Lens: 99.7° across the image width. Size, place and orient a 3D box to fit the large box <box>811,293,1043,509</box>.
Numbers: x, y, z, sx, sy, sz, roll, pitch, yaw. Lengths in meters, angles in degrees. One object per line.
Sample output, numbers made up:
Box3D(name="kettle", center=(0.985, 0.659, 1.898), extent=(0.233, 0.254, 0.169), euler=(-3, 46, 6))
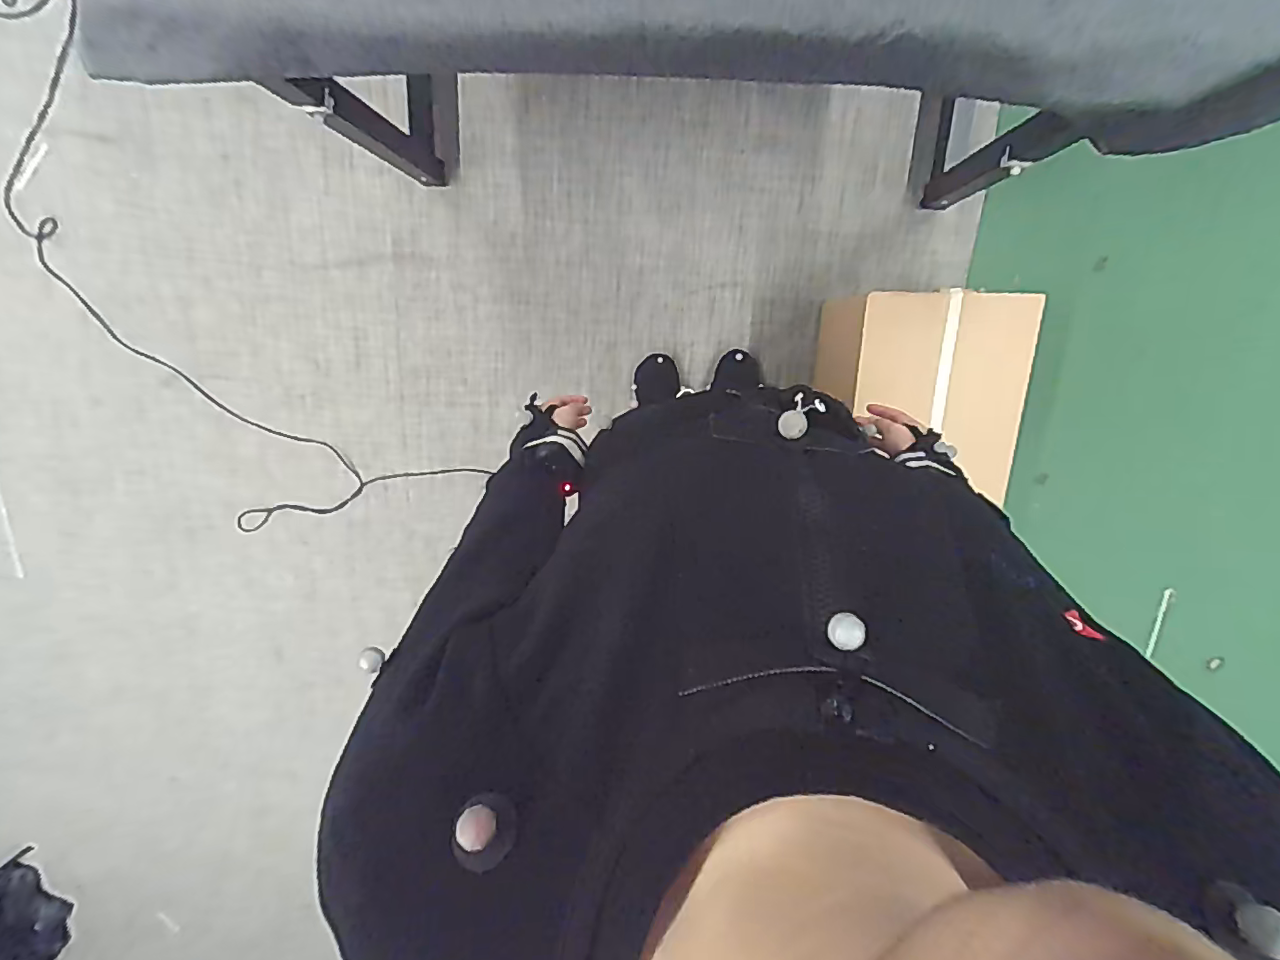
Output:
Box3D(name="large box", center=(0.569, -0.176, 1.152), extent=(0.320, 0.320, 0.408), euler=(2, 104, 4))
